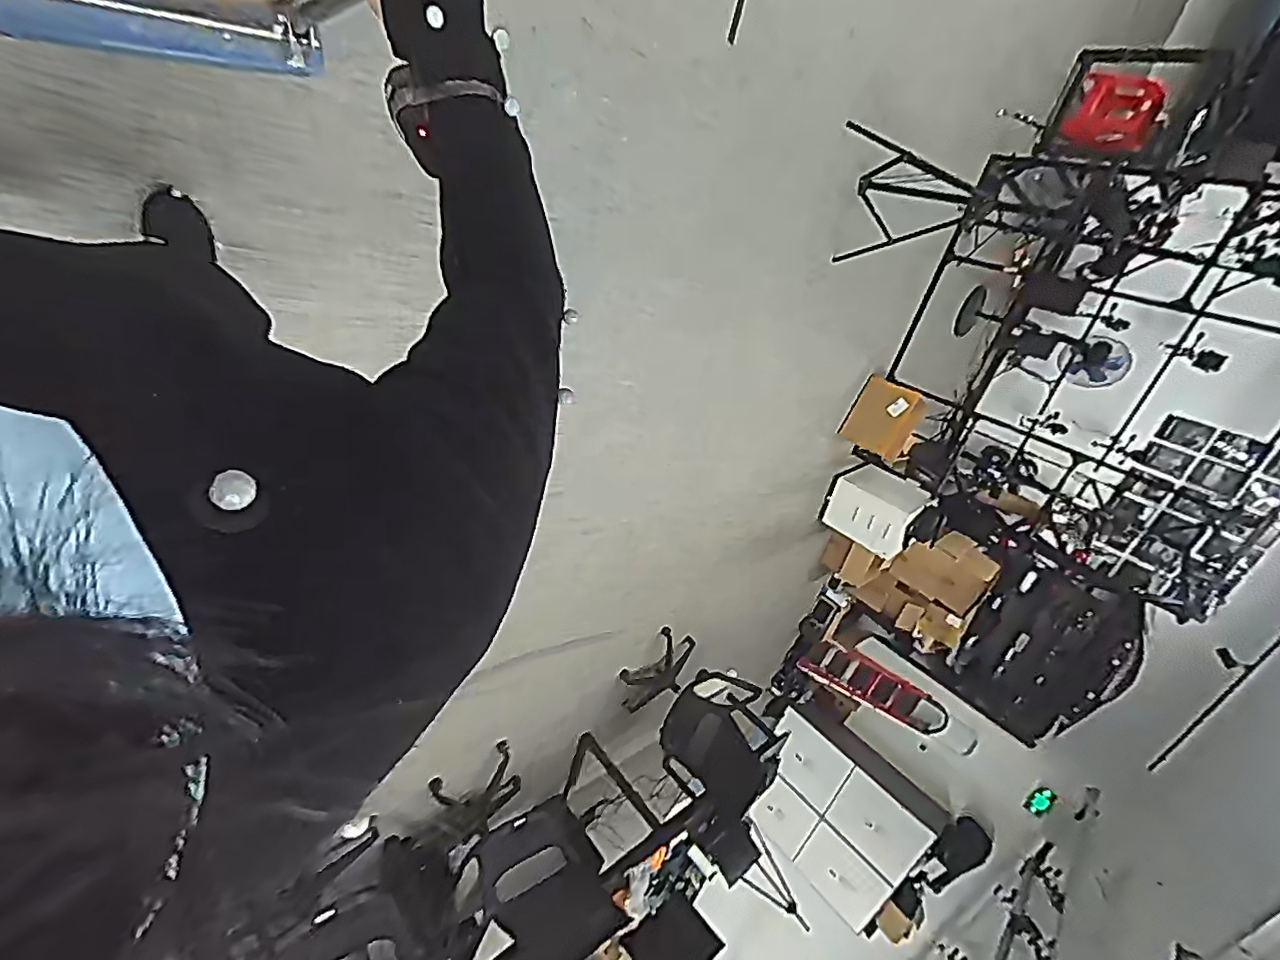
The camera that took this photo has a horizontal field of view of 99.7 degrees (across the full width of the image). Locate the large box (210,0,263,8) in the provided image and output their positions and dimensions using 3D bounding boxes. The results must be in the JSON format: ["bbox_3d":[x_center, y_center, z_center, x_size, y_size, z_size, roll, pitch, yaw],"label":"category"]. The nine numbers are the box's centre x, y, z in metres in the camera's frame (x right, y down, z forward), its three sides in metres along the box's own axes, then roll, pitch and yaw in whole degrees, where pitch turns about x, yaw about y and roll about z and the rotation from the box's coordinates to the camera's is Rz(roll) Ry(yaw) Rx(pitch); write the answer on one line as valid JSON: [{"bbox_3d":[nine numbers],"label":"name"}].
[{"bbox_3d":[-0.646,-0.761,0.570,0.408,0.320,0.320,-21,129,-39],"label":"large box"}]
